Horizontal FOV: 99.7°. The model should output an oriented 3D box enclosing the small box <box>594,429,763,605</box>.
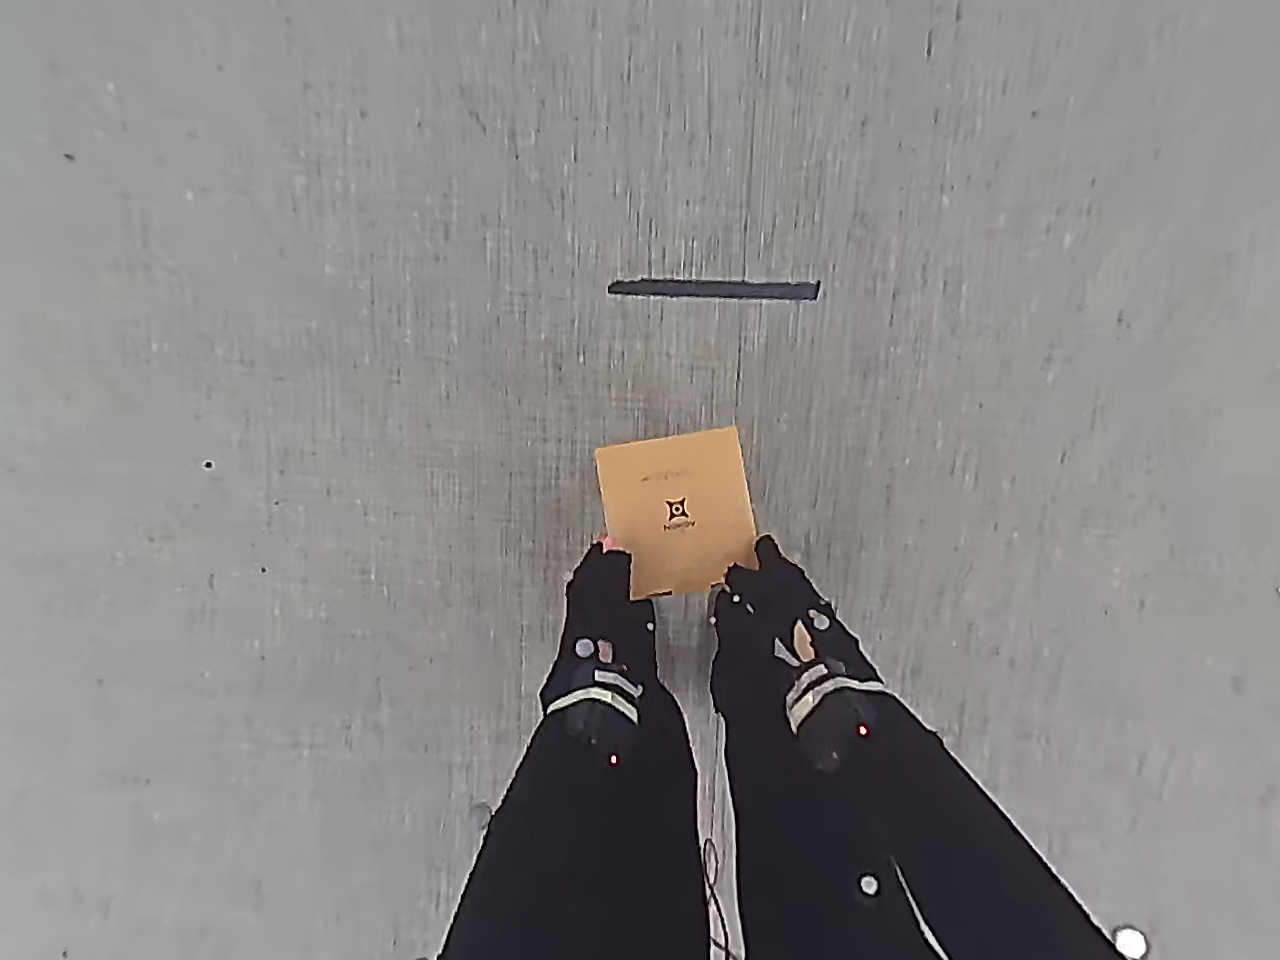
[{"bbox_3d":[0.043,0.048,0.672,0.168,0.176,0.179,-9,83,-1],"label":"small box"}]
